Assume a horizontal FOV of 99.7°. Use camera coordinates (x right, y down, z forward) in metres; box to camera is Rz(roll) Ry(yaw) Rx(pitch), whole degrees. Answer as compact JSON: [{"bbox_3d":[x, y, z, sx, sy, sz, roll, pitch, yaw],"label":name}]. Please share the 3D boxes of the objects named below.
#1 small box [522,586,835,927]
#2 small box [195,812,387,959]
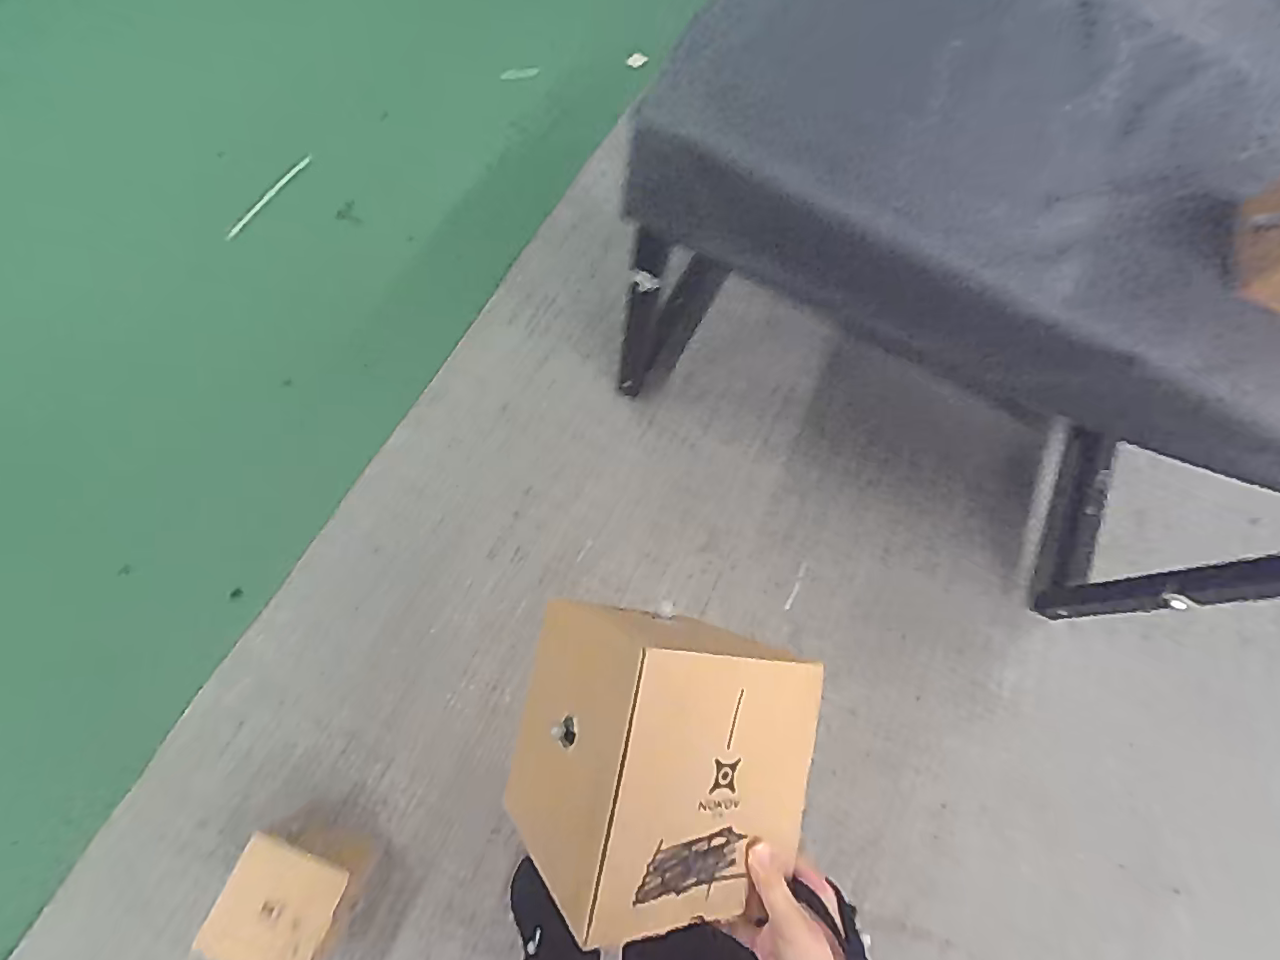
[{"bbox_3d":[0.020,0.195,0.428,0.168,0.176,0.179,17,81,-29],"label":"small box"},{"bbox_3d":[-0.567,0.687,0.908,0.179,0.176,0.168,22,71,2],"label":"small box"}]
